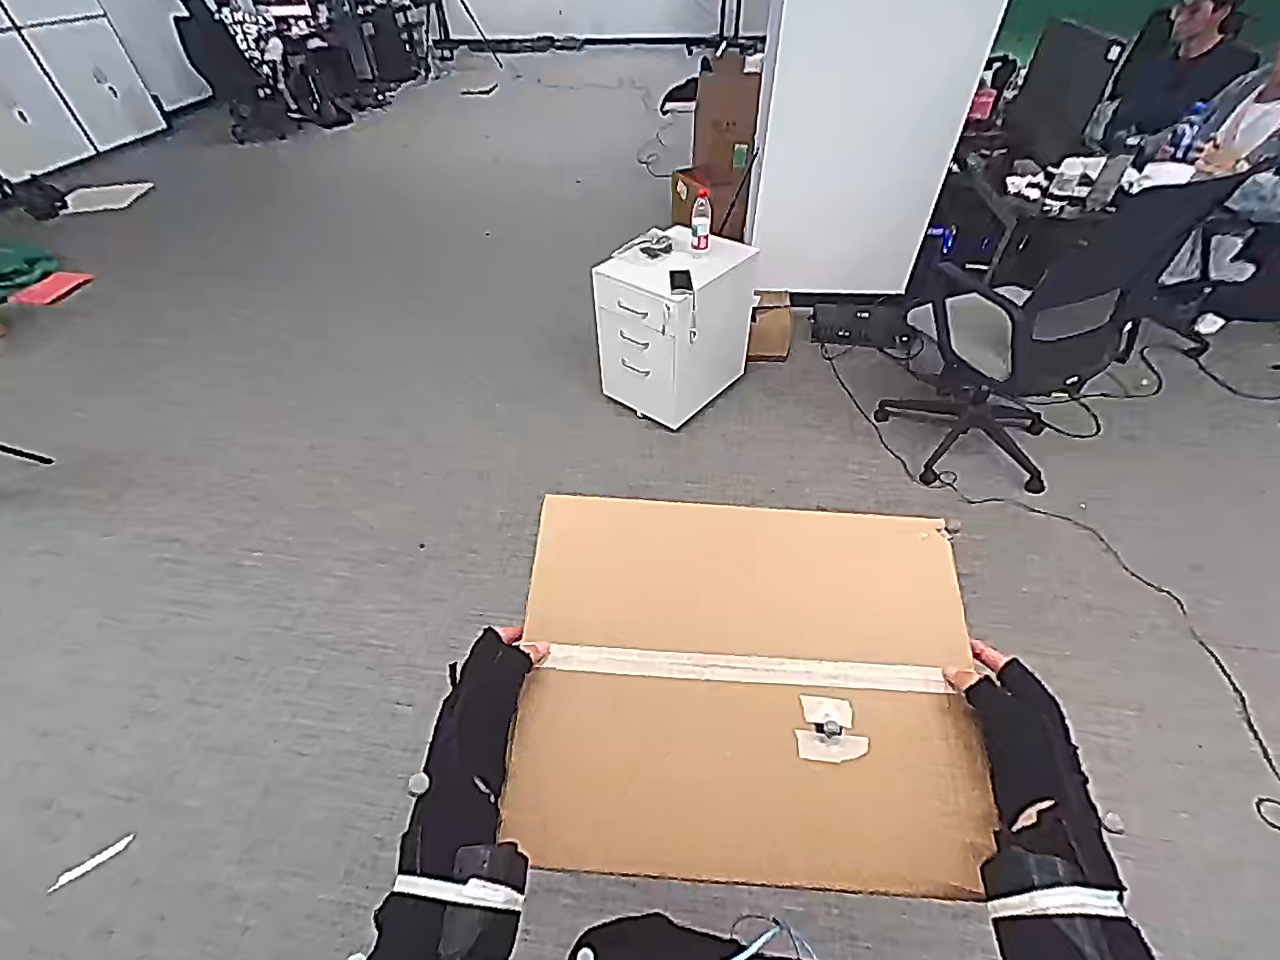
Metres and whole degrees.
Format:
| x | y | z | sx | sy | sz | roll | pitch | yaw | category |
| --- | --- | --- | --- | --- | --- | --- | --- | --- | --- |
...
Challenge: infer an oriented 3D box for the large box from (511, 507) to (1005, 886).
| x | y | z | sx | sy | sz | roll | pitch | yaw | category |
| --- | --- | --- | --- | --- | --- | --- | --- | --- | --- |
| 0.095 | 0.240 | 0.626 | 0.408 | 0.320 | 0.320 | 3 | 65 | 1 | large box |
